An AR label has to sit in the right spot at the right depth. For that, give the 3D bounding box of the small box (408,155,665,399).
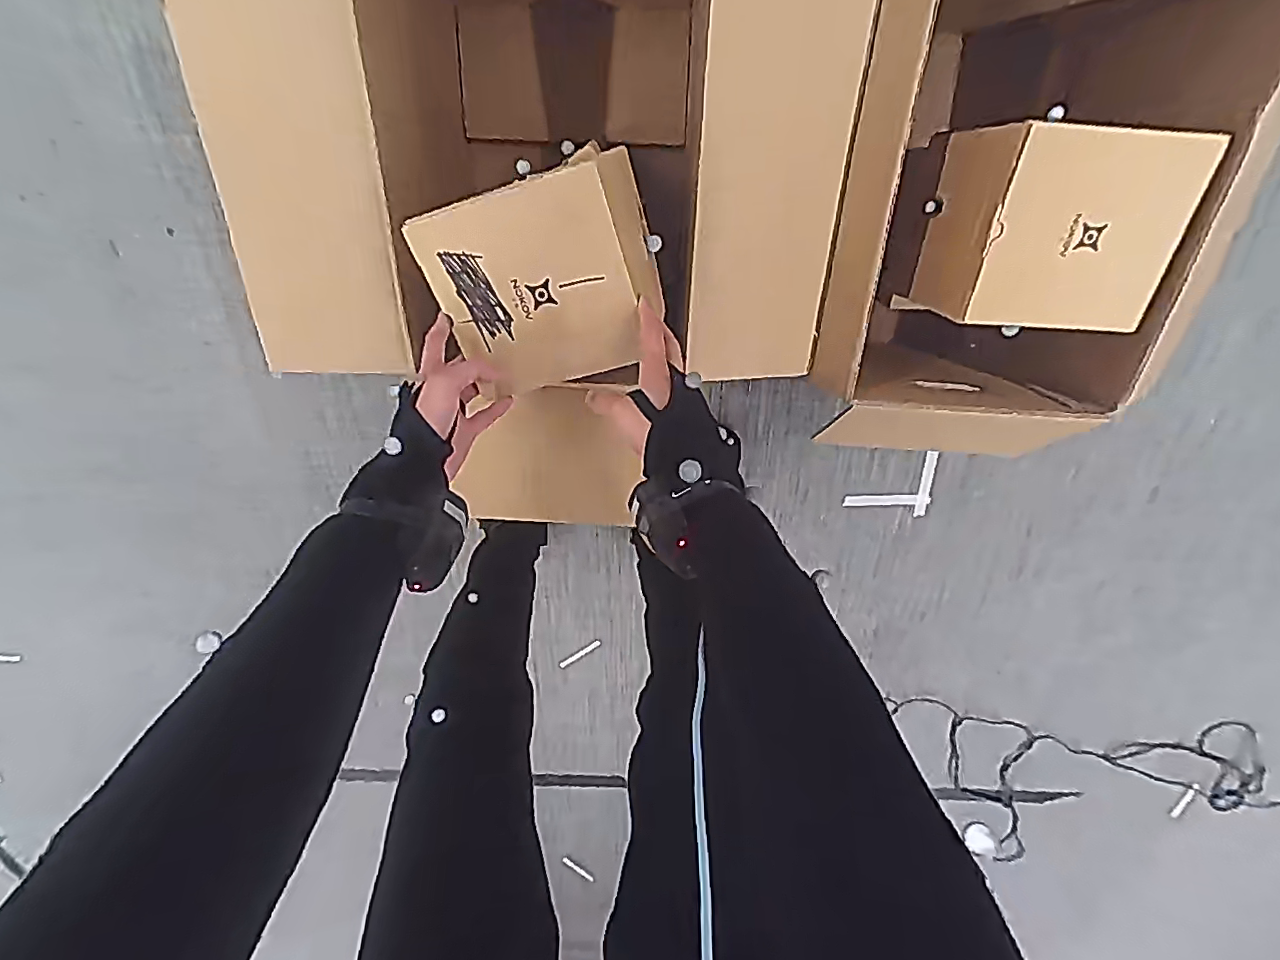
[{"bbox_3d":[-0.082,-0.202,0.533,0.179,0.176,0.168,-10,123,14],"label":"small box"}]

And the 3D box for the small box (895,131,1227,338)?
[{"bbox_3d":[0.399,-0.254,0.555,0.179,0.176,0.168,3,120,-1],"label":"small box"}]
